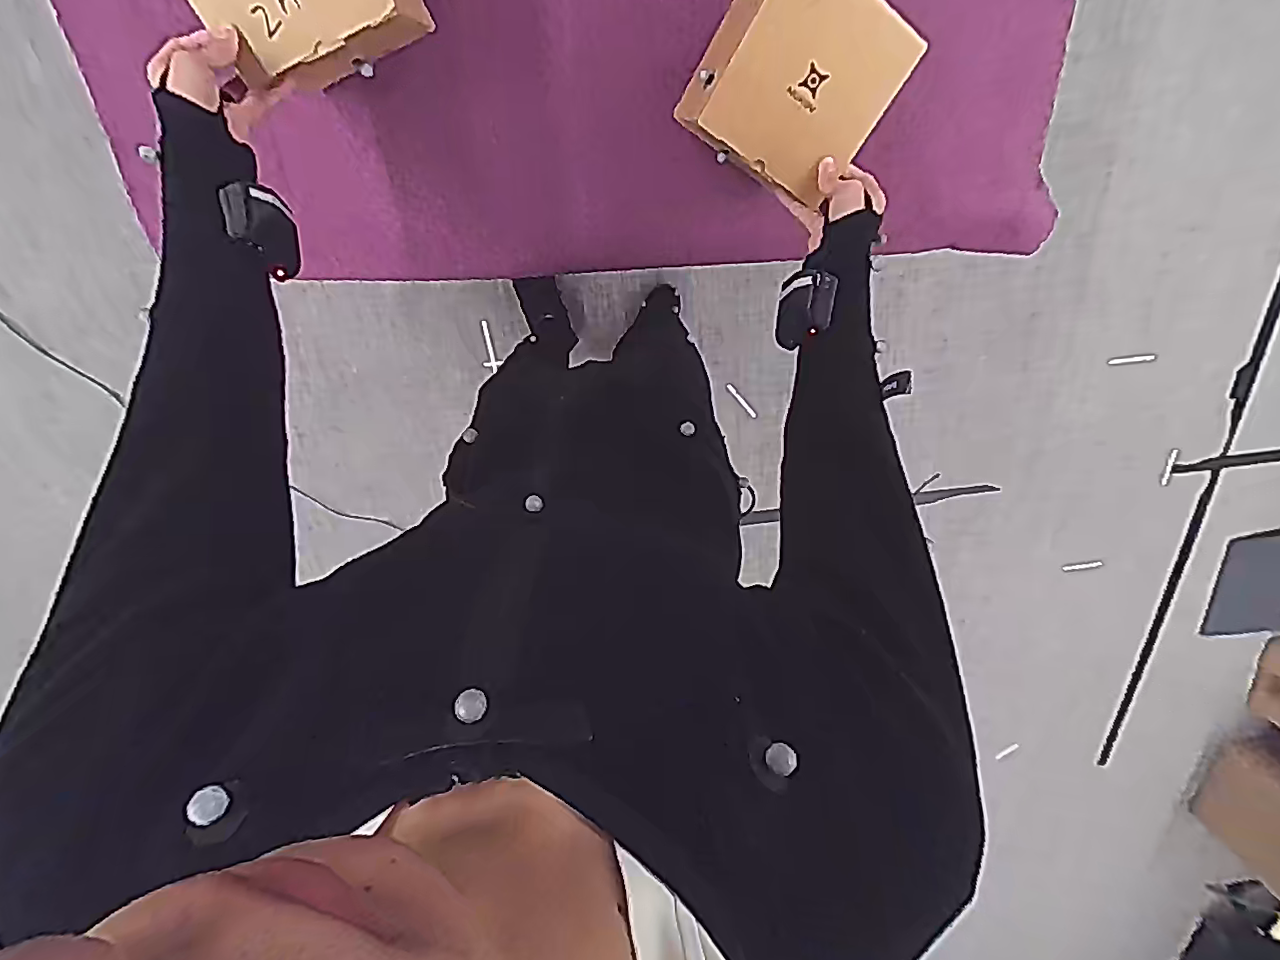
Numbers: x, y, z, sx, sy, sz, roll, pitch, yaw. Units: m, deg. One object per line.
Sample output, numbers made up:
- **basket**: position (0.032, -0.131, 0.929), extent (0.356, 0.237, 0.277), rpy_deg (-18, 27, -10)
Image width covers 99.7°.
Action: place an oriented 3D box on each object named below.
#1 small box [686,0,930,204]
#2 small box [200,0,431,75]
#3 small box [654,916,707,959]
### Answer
- **small box**: position (0.166, -0.449, 0.603), extent (0.168, 0.176, 0.179), rpy_deg (24, 121, -21)
- **small box**: position (-0.331, -0.521, 0.516), extent (0.168, 0.176, 0.179), rpy_deg (-20, 125, 8)
- **small box**: position (0.145, 1.715, 1.950), extent (0.168, 0.176, 0.179), rpy_deg (1, 117, -8)
